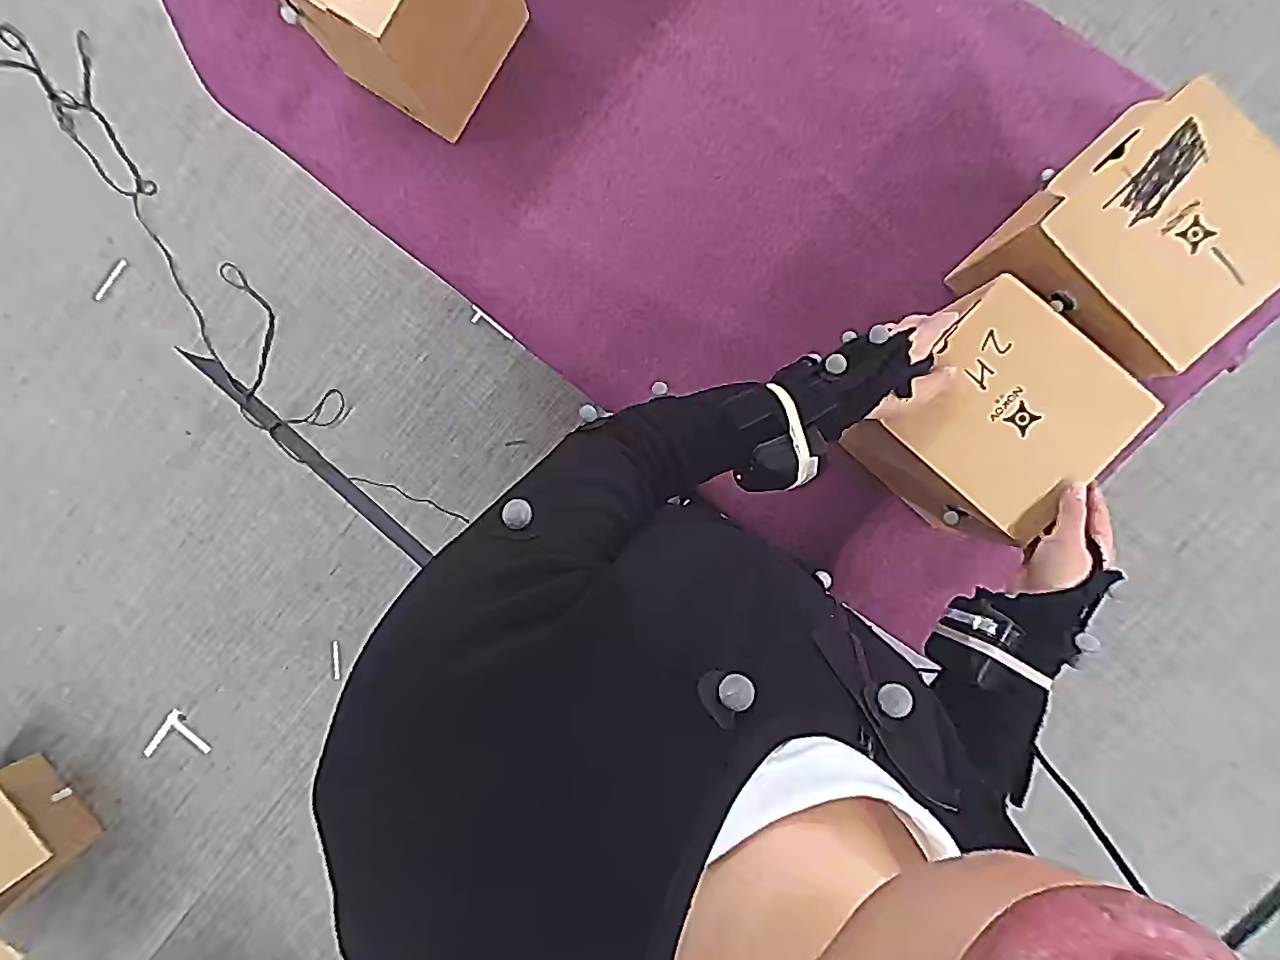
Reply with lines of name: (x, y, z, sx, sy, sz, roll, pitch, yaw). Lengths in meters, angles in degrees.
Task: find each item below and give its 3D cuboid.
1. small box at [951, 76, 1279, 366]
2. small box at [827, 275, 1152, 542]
small box: (0.452, -0.218, 0.525, 0.168, 0.176, 0.179, -44, 90, 7)
small box: (0.323, -0.065, 0.545, 0.179, 0.176, 0.168, 42, 94, 2)
